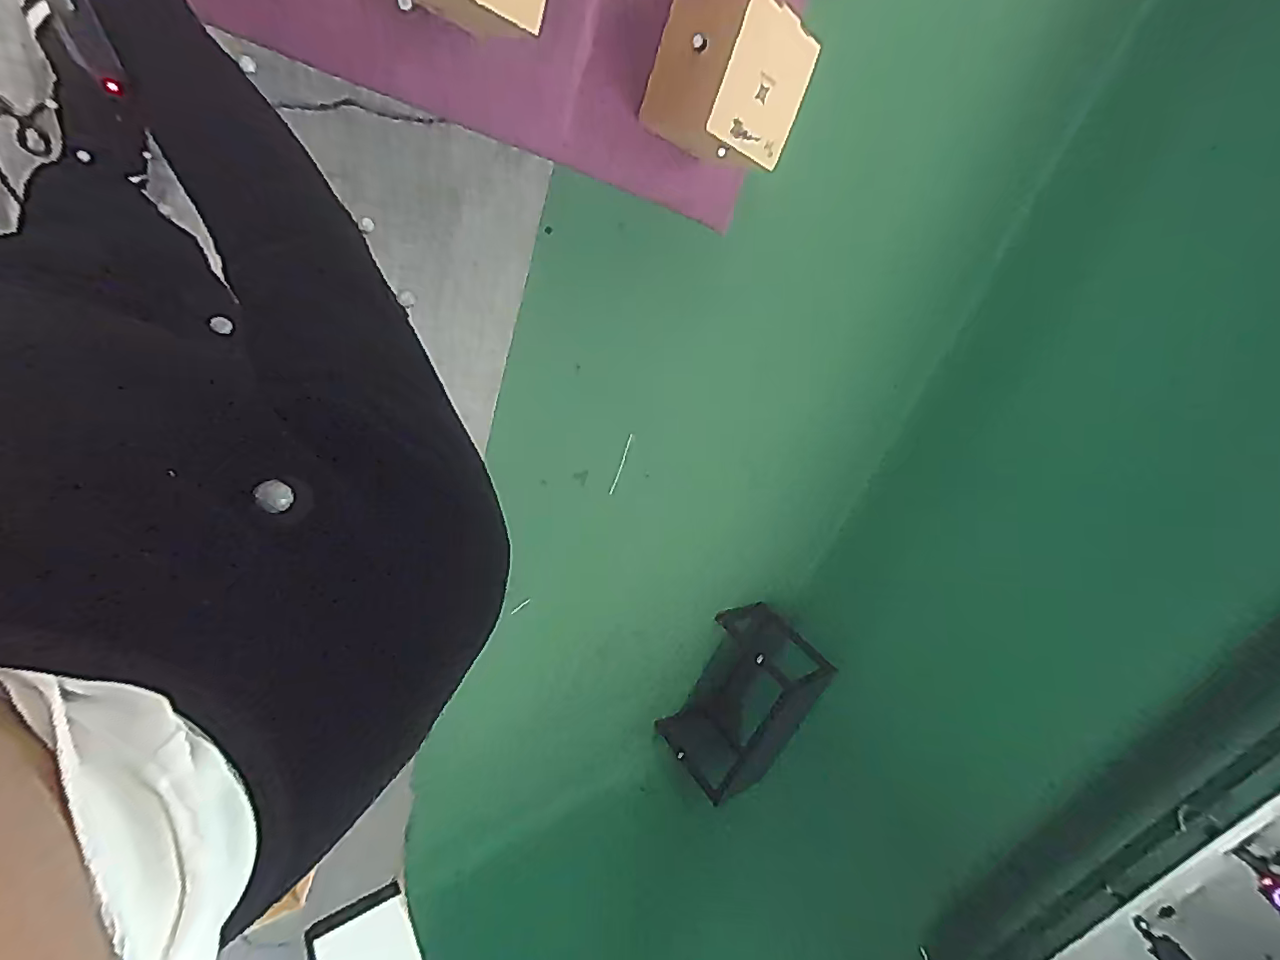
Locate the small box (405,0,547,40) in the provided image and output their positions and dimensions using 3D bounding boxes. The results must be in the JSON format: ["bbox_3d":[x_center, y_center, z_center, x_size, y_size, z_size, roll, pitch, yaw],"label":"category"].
[{"bbox_3d":[-0.189,-0.586,0.544,0.168,0.176,0.179,-3,123,-42],"label":"small box"}]

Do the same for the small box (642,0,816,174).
[{"bbox_3d":[0.129,-0.604,0.832,0.168,0.176,0.179,0,120,-42],"label":"small box"}]
